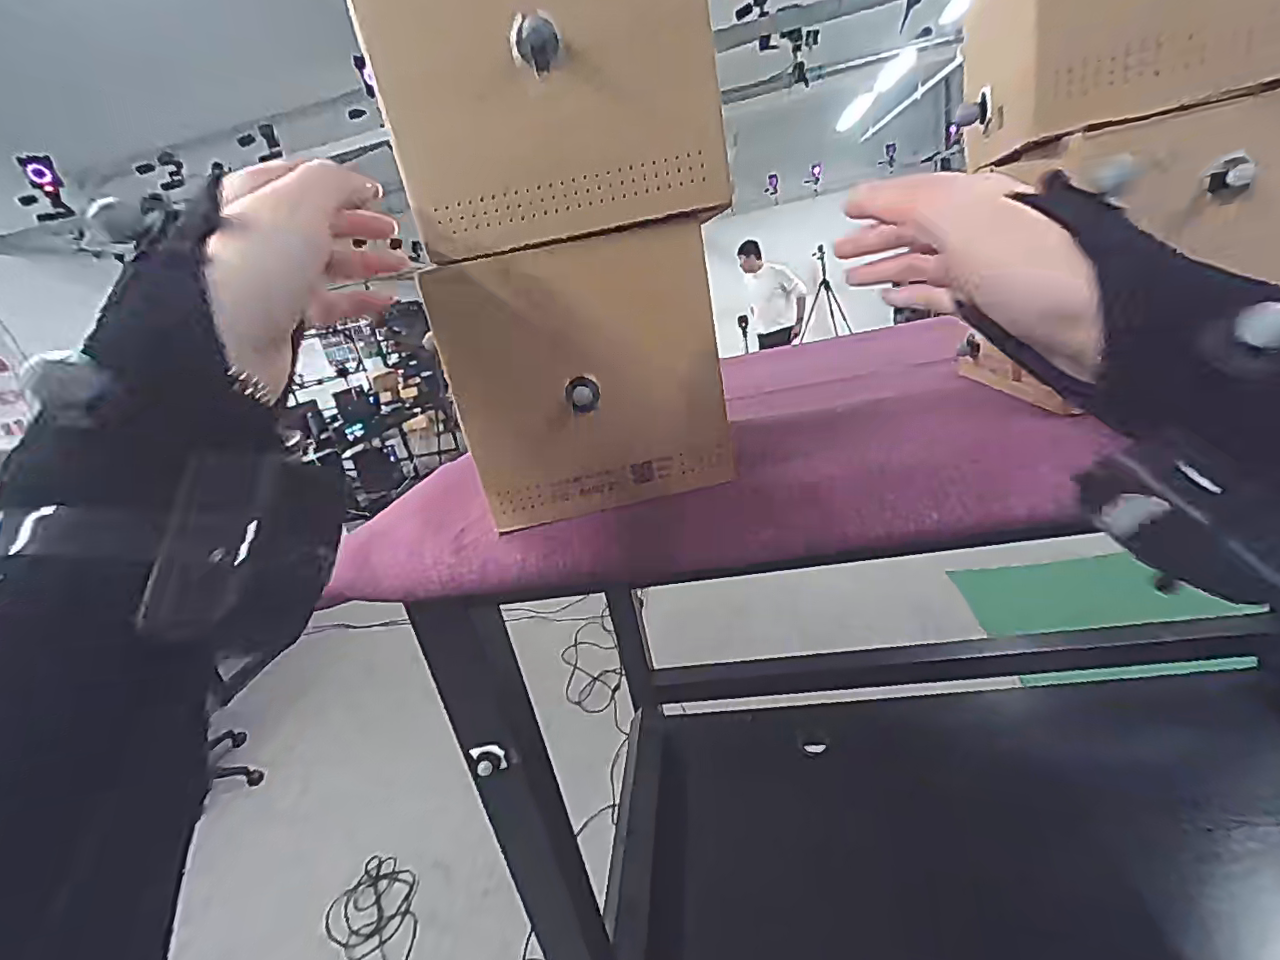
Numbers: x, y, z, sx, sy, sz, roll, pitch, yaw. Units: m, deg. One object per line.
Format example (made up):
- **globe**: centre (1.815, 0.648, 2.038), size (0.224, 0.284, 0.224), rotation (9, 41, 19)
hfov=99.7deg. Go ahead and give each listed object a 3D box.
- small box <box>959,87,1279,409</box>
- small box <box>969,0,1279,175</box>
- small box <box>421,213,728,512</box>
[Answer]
- **small box**: centre (0.352, -0.155, 0.382), size (0.179, 0.176, 0.168), rotation (-7, 20, 10)
- **small box**: centre (0.316, -0.304, 0.329), size (0.179, 0.176, 0.168), rotation (-6, 19, 20)
- **small box**: centre (-0.038, -0.085, 0.410), size (0.168, 0.176, 0.179), rotation (-11, 19, -3)
